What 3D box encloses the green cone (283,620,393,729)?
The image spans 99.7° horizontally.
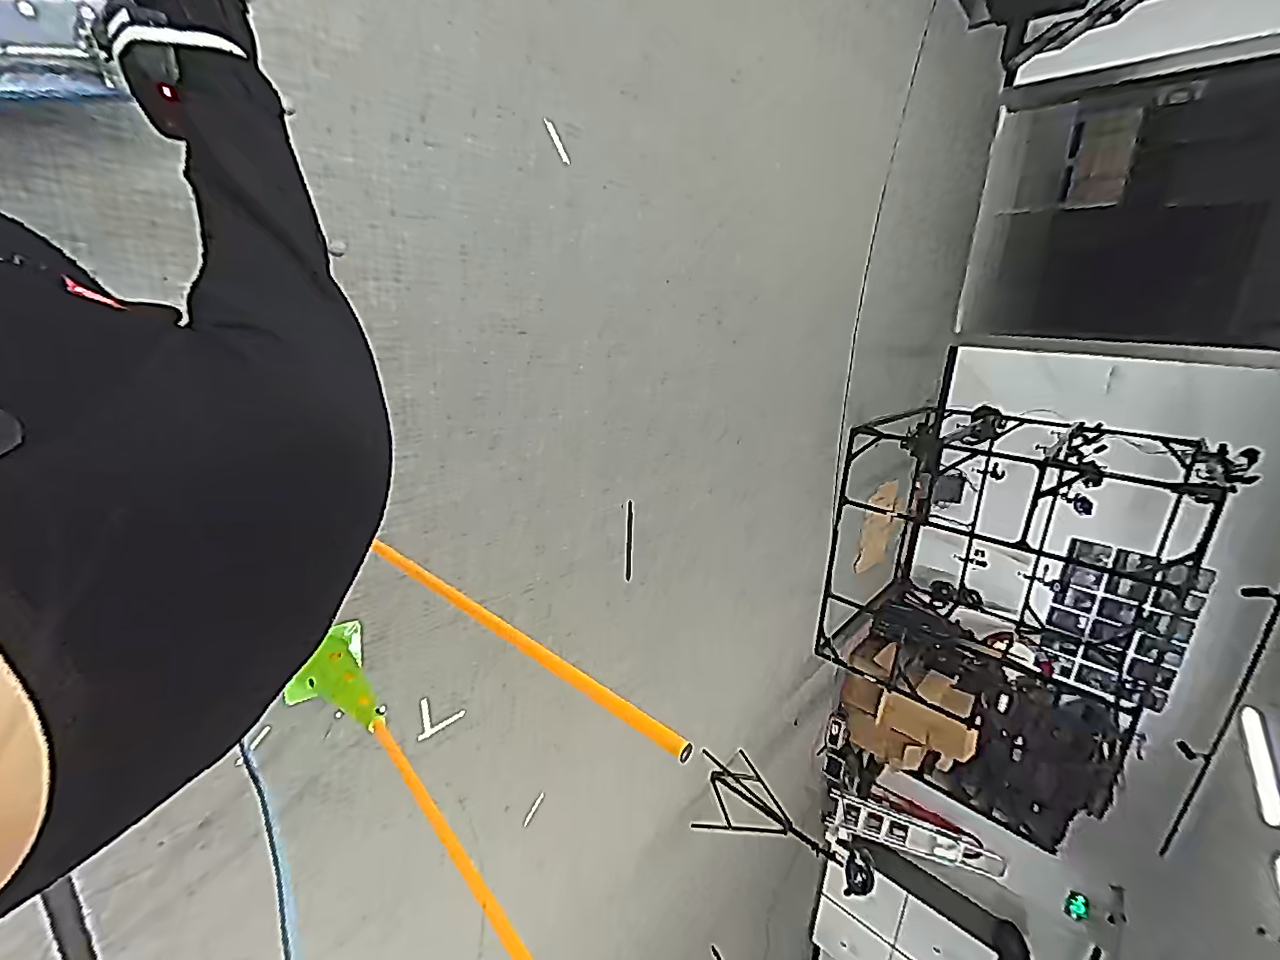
[{"bbox_3d":[-0.753,0.546,1.410,0.202,0.368,0.200,-11,112,-48],"label":"green cone"}]
